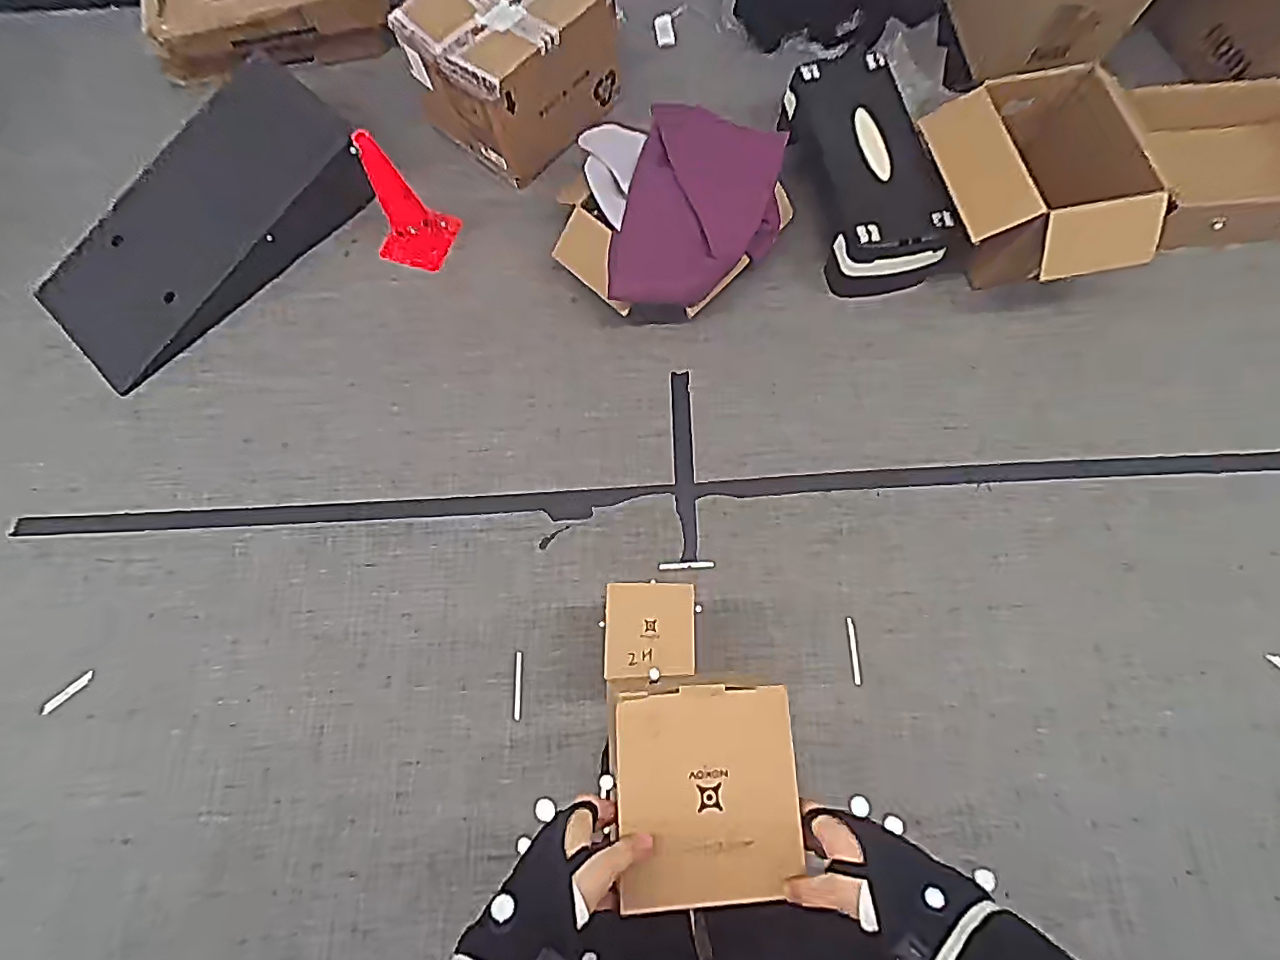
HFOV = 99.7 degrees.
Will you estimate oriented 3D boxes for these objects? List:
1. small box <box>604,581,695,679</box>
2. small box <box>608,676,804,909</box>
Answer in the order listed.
[{"bbox_3d":[0.020,0.297,1.068,0.168,0.176,0.179,1,75,2],"label":"small box"},{"bbox_3d":[0.053,0.301,0.563,0.168,0.176,0.179,0,75,-6],"label":"small box"}]
